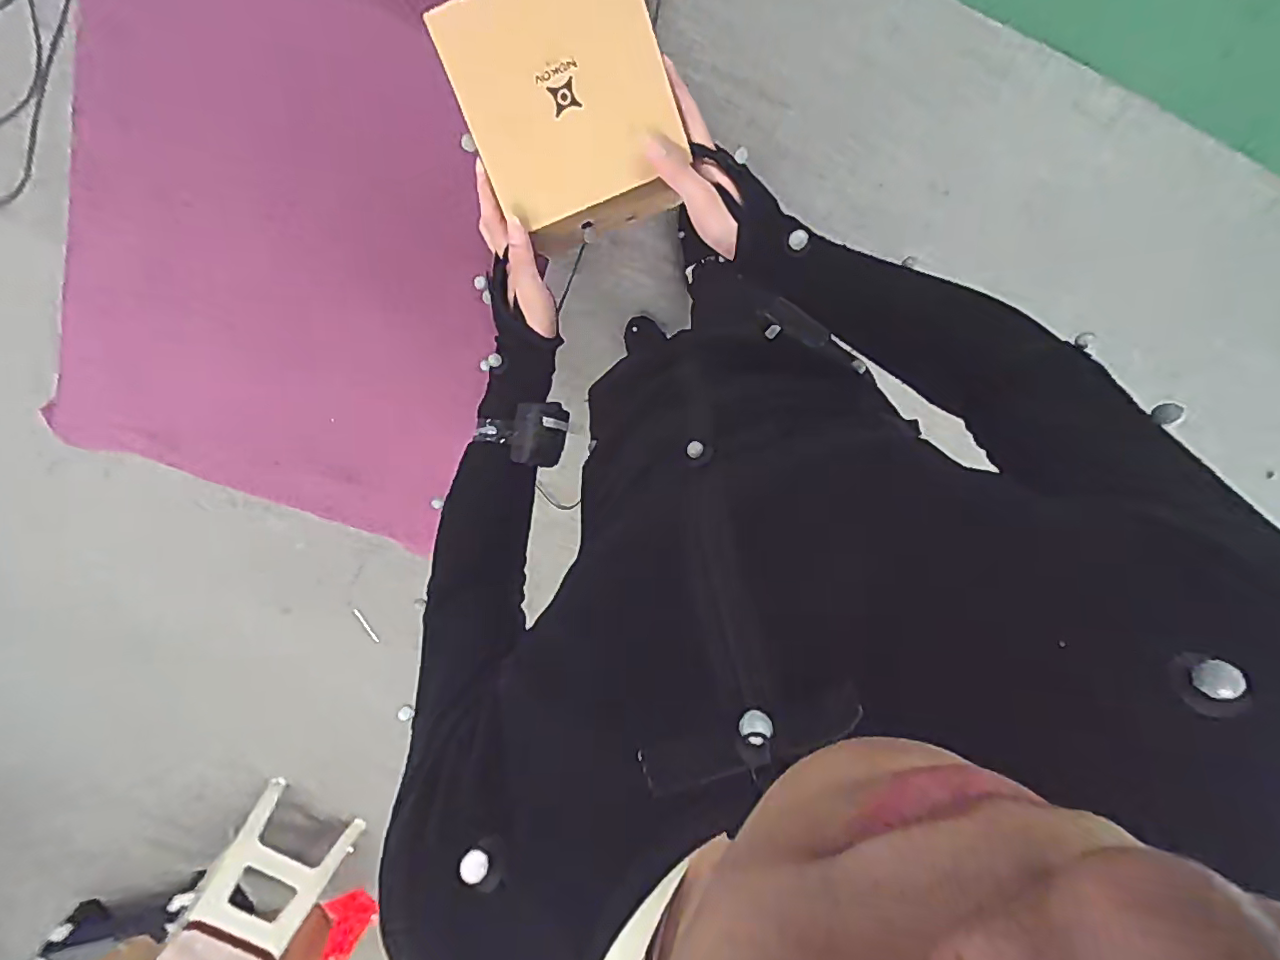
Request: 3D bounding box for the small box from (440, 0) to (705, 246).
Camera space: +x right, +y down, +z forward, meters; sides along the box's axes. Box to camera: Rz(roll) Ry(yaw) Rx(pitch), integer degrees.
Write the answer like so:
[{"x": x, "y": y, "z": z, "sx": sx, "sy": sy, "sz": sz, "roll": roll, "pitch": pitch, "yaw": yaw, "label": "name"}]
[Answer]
[{"x": -0.047, "y": -0.334, "z": 0.503, "sx": 0.168, "sy": 0.176, "sz": 0.179, "roll": -20, "pitch": 104, "yaw": 7, "label": "small box"}]
